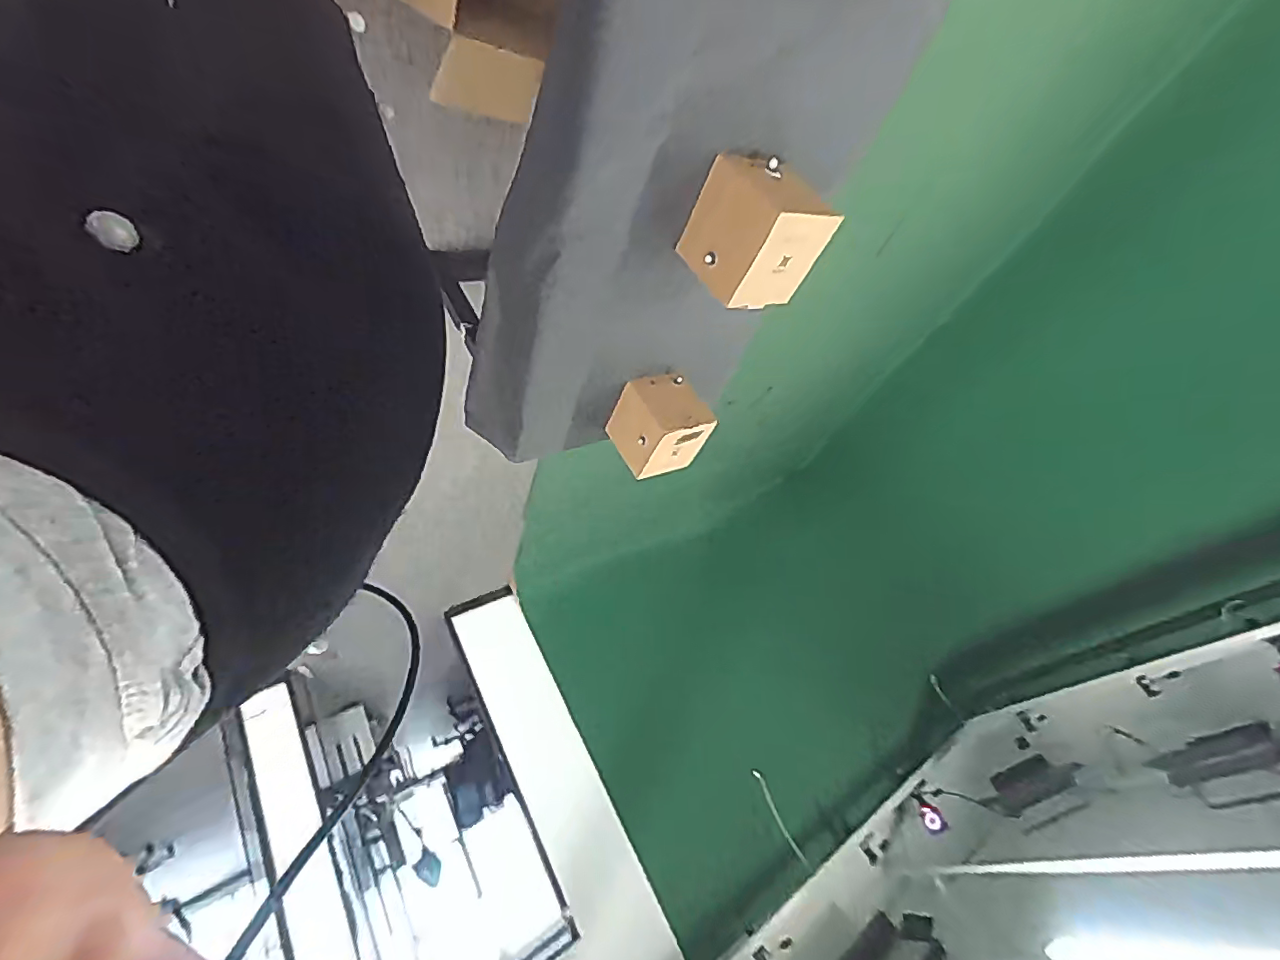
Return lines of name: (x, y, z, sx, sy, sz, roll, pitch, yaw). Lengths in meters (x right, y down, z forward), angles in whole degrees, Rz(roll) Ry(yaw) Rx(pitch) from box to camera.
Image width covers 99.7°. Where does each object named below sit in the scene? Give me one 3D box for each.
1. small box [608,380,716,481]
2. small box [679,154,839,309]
small box: (0.044, -0.128, 1.306, 0.168, 0.176, 0.179, -15, 152, -35)
small box: (0.192, -0.420, 0.927, 0.168, 0.176, 0.179, -18, 152, -35)
